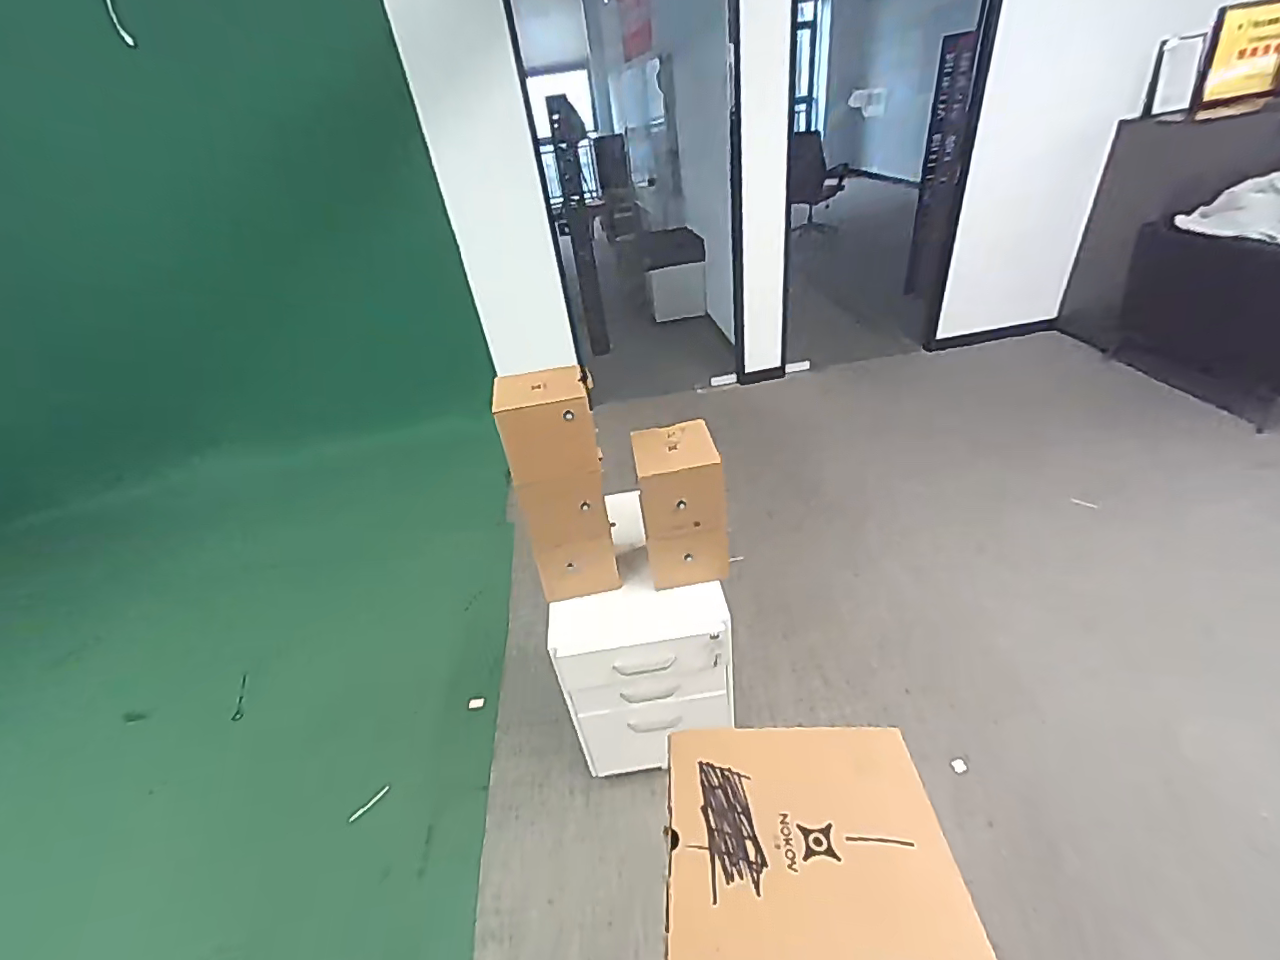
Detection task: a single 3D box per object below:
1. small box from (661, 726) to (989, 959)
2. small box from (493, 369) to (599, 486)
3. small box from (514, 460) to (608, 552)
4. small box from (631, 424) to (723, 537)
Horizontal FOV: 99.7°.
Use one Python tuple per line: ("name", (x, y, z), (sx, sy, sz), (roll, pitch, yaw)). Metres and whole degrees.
("small box", (0.111, 0.302, 0.385), (0.179, 0.176, 0.168), (-2, 26, 6))
("small box", (-0.186, -0.104, 1.086), (0.179, 0.176, 0.168), (-10, 34, -6))
("small box", (-0.169, 0.031, 1.175), (0.179, 0.176, 0.168), (-11, 34, -6))
("small box", (0.078, 0.006, 1.156), (0.168, 0.176, 0.179), (-10, 35, -1))
